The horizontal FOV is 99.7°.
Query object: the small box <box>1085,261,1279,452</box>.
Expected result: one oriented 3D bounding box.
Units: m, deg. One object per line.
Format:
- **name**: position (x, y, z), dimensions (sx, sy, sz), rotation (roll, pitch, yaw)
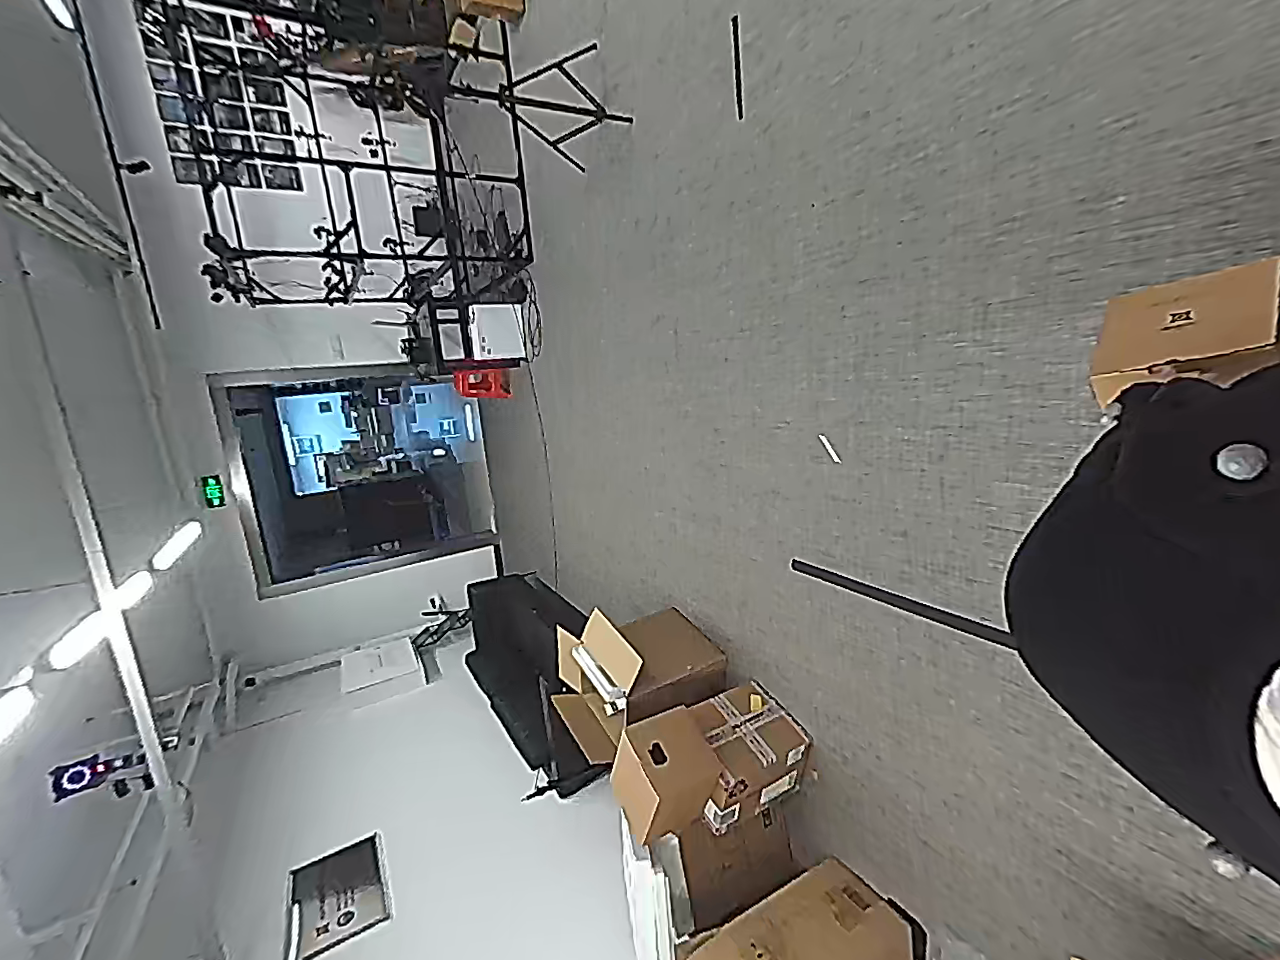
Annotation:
- **small box**: position (0.741, -0.150, 0.730), dimensions (0.176, 0.179, 0.168), rotation (48, 153, -24)
